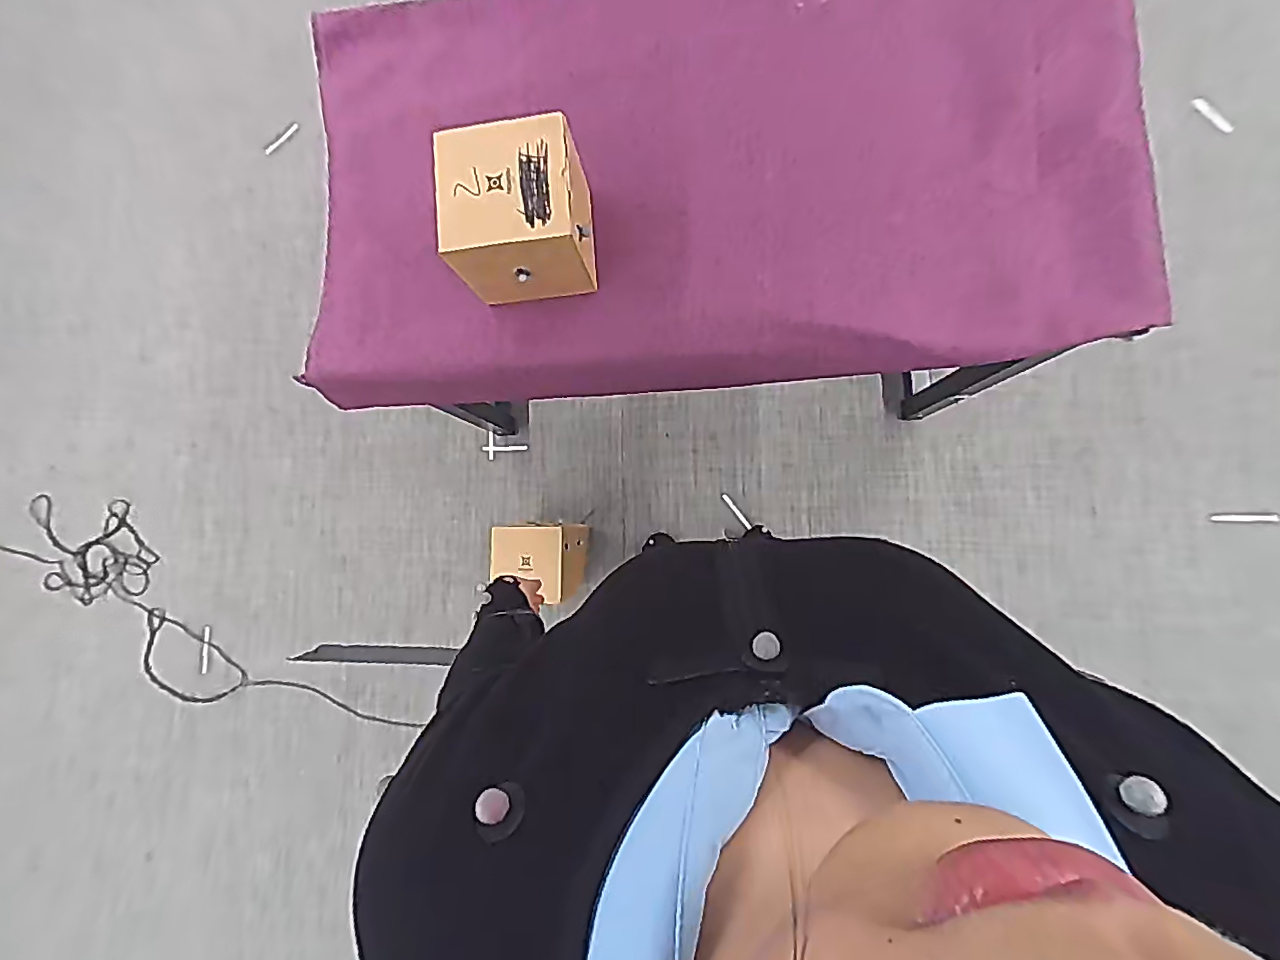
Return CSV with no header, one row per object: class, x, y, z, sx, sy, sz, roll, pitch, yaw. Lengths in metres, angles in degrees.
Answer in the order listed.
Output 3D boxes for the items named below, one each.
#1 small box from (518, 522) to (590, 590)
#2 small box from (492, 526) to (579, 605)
small box,-0.236,0.209,1.460,0.168,0.176,0.179,5,86,6
small box,-0.244,0.199,1.296,0.168,0.176,0.179,0,86,6
